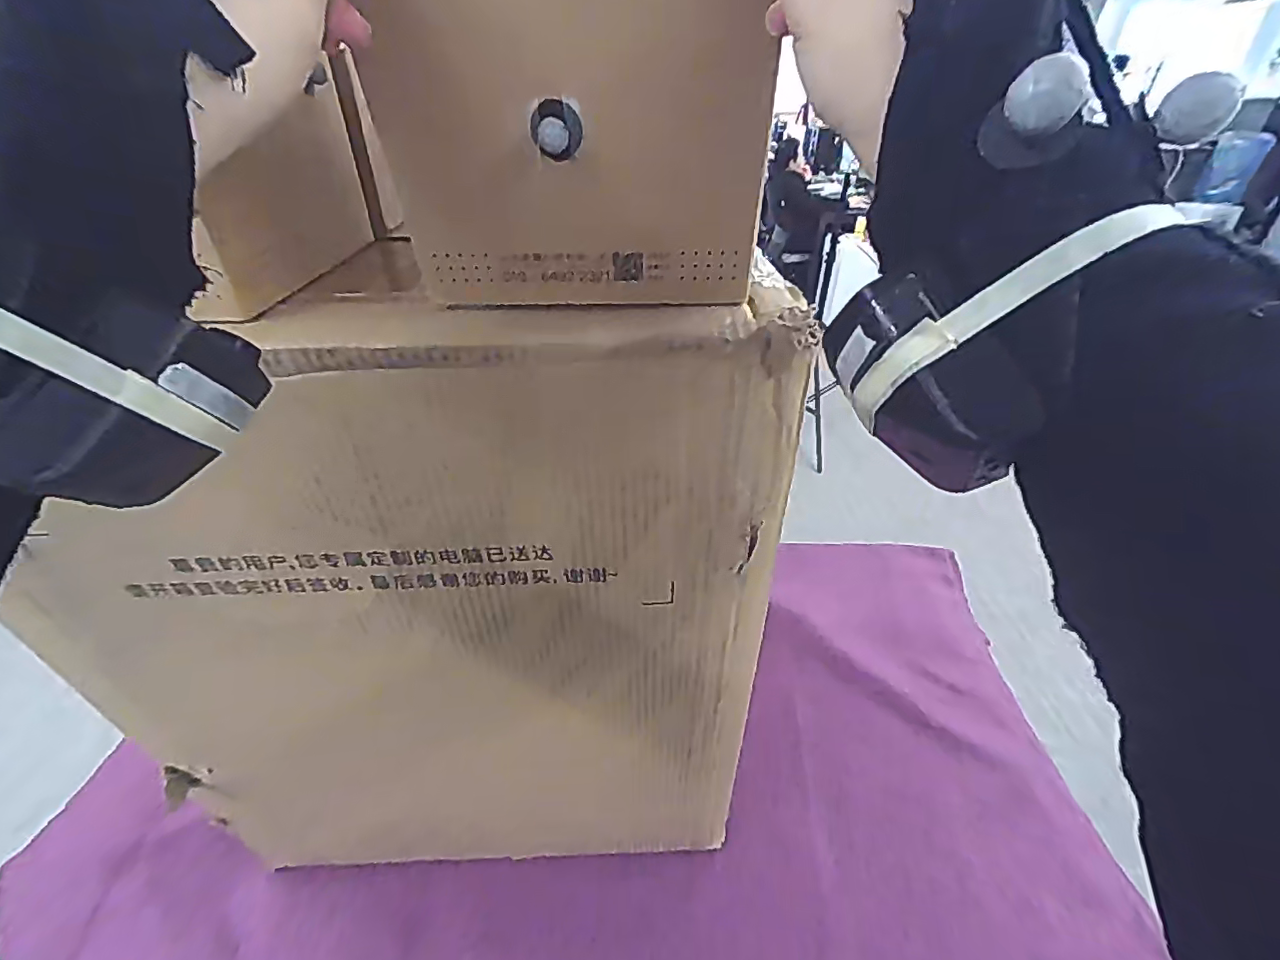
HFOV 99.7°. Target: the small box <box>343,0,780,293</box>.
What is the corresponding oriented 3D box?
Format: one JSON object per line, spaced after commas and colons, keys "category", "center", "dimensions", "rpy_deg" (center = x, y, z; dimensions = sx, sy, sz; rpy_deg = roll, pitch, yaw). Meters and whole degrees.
{"category": "small box", "center": [-0.025, -0.210, 0.275], "dimensions": [0.168, 0.176, 0.179], "rpy_deg": [1, 47, 2]}
